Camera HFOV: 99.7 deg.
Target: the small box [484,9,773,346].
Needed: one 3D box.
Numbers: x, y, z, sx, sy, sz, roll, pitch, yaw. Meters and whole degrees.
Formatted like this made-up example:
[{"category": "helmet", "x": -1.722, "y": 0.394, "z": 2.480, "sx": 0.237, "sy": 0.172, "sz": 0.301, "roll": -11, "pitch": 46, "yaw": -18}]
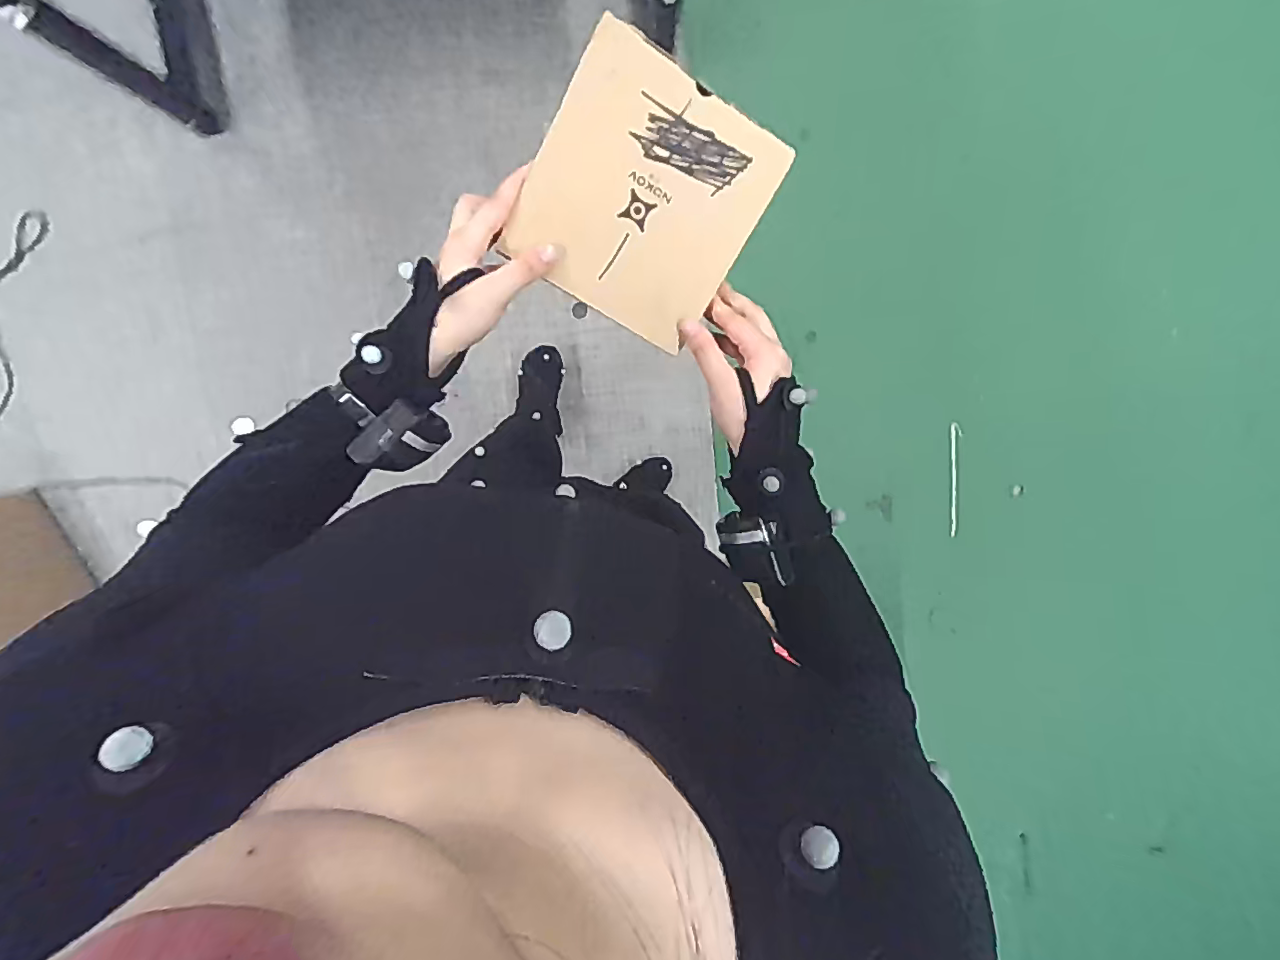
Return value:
[{"category": "small box", "x": -0.016, "y": -0.243, "z": 0.484, "sx": 0.168, "sy": 0.176, "sz": 0.179, "roll": 27, "pitch": 105, "yaw": -13}]
